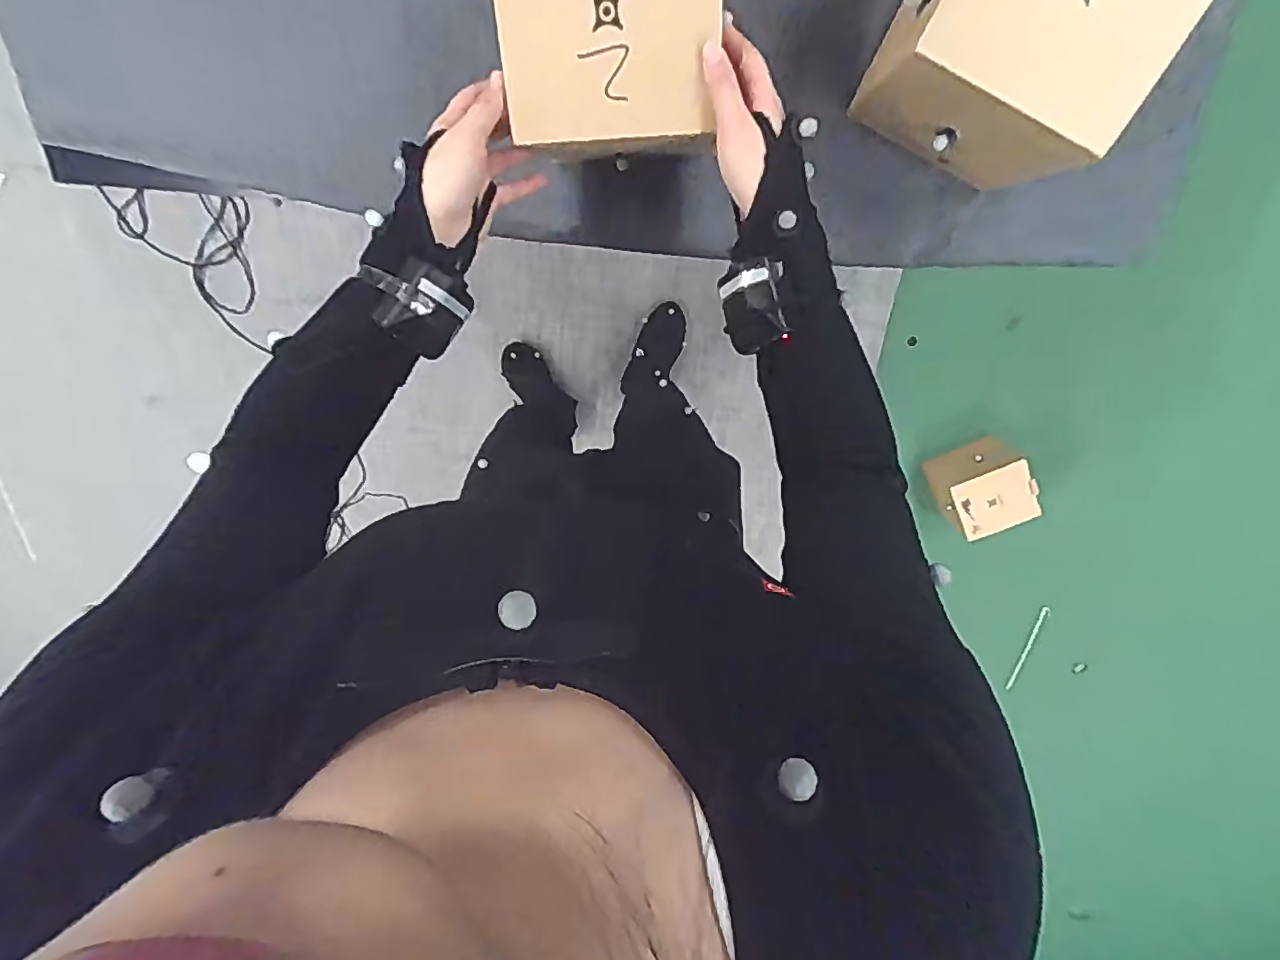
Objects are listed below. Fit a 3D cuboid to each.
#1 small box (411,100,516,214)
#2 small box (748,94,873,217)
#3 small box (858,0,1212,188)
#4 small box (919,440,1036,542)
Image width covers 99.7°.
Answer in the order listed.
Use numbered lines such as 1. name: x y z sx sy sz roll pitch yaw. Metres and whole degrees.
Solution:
1. small box: -0.369 -0.676 1.151 0.168 0.176 0.179 9 113 0
2. small box: 0.335 -0.649 1.107 0.179 0.176 0.168 17 114 -5
3. small box: 0.302 -0.364 0.434 0.168 0.176 0.179 25 110 -7
4. small box: 0.842 0.021 1.362 0.179 0.176 0.168 -25 109 13
